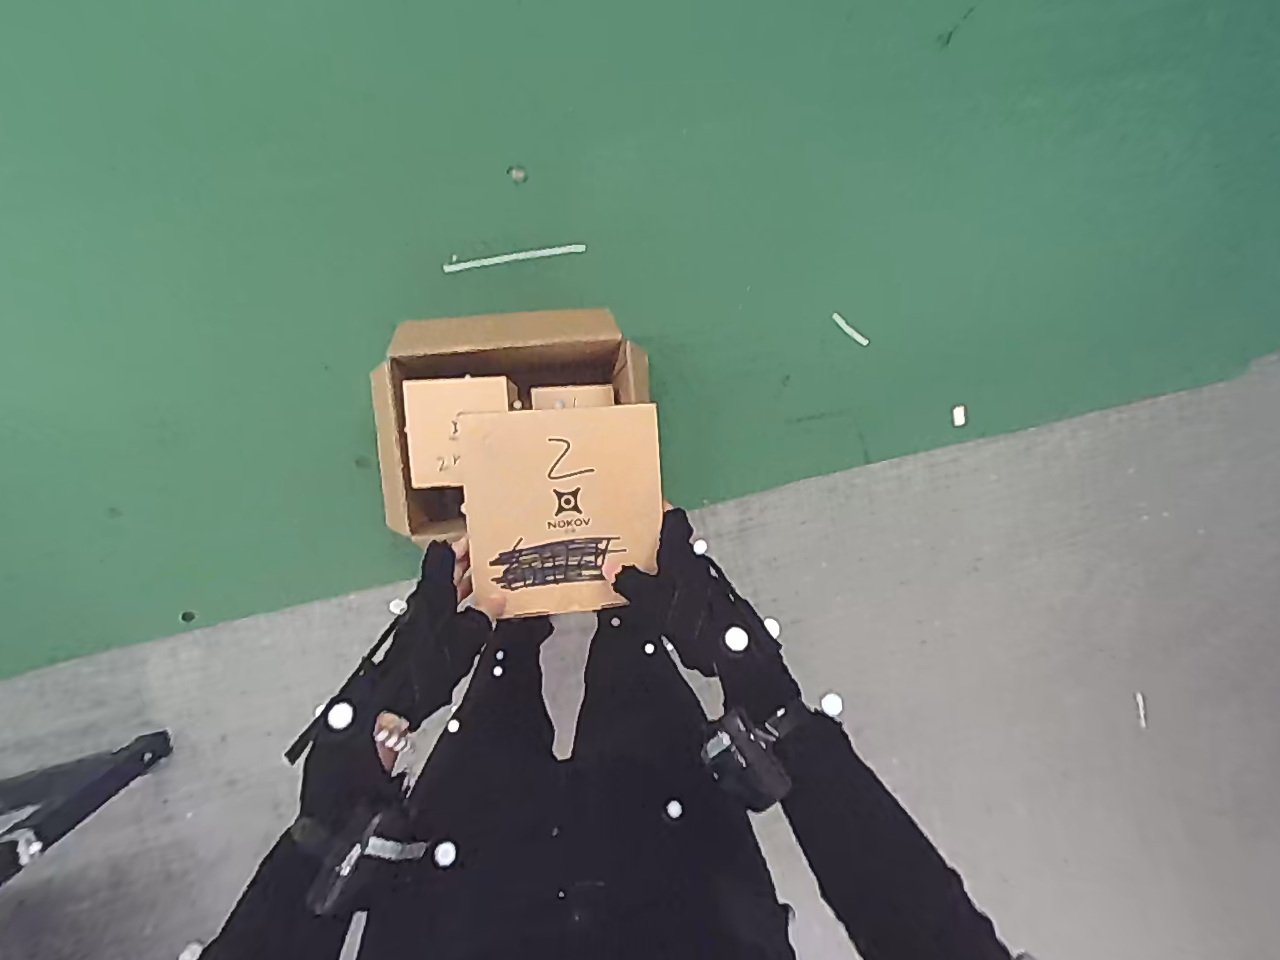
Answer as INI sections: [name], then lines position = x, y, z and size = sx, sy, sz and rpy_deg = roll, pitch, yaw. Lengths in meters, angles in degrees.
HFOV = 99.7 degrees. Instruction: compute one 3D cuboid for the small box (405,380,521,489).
[small box]
position = -0.304, -0.078, 0.959
size = 0.168, 0.176, 0.179
rpy_deg = -3, 94, -7
